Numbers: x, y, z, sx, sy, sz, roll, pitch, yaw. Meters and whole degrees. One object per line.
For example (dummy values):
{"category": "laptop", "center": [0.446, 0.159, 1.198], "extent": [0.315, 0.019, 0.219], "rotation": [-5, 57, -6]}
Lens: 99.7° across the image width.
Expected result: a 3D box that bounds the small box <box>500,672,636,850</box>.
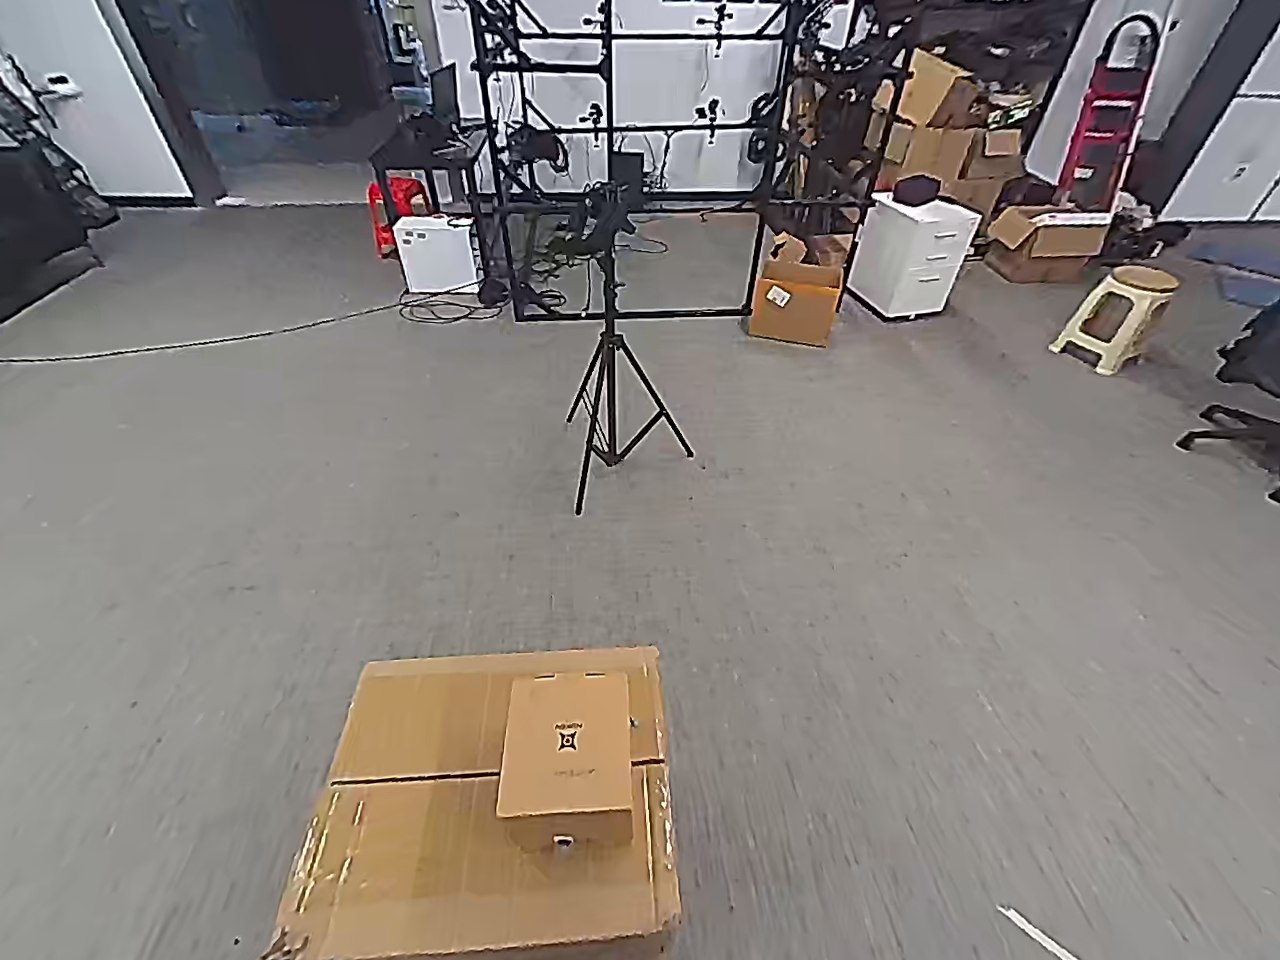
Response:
{"category": "small box", "center": [-0.092, 0.396, 0.765], "extent": [0.168, 0.176, 0.179], "rotation": [-4, 45, -2]}
